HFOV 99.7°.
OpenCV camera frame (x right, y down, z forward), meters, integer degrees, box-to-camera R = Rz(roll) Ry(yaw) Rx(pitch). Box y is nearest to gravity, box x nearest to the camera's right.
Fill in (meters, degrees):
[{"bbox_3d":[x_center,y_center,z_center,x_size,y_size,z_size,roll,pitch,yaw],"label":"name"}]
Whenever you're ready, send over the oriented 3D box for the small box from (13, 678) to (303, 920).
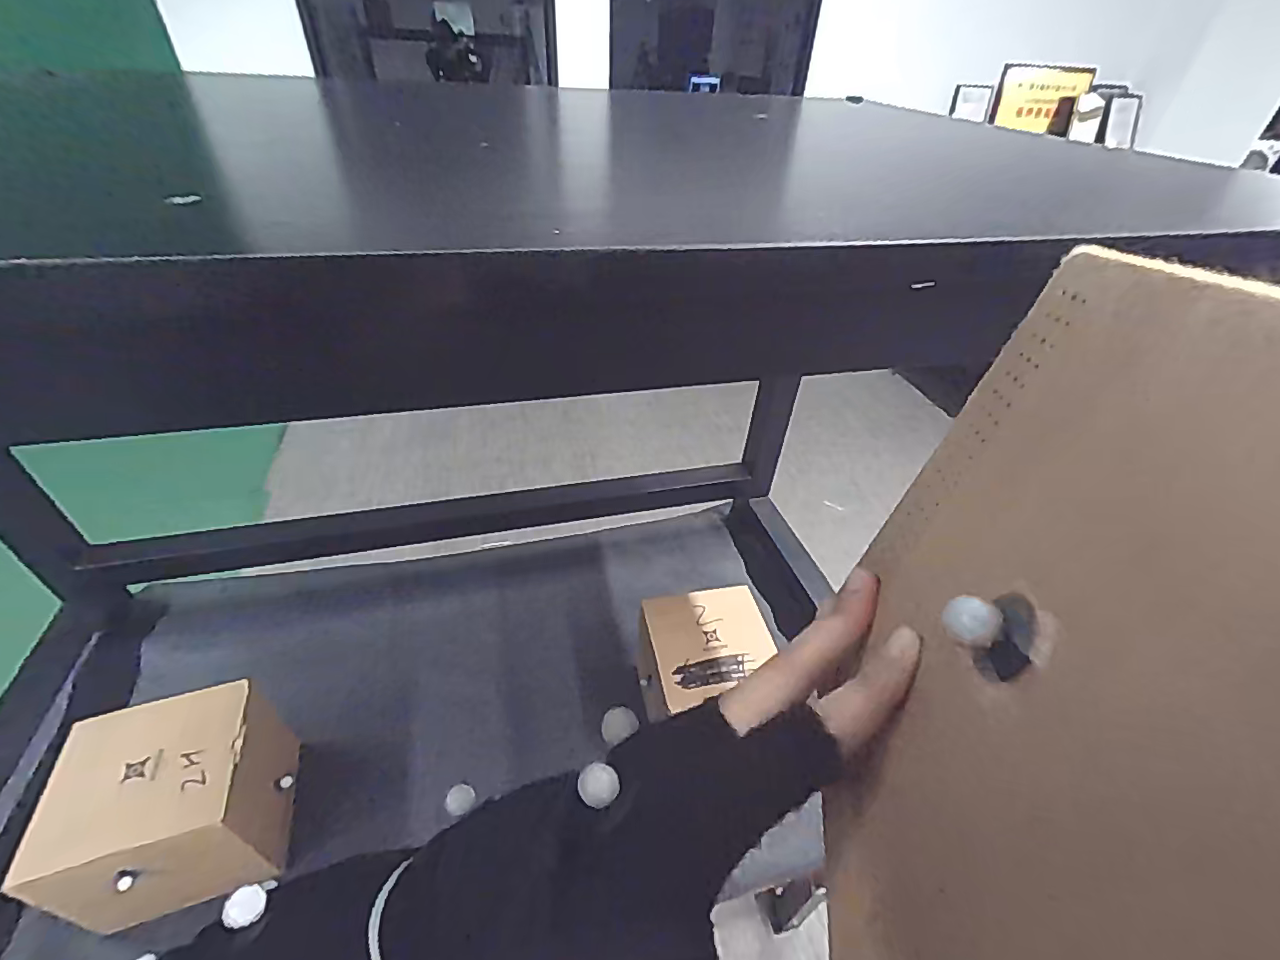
[{"bbox_3d":[-0.525,0.368,0.627,0.179,0.176,0.168,-10,42,-17],"label":"small box"}]
